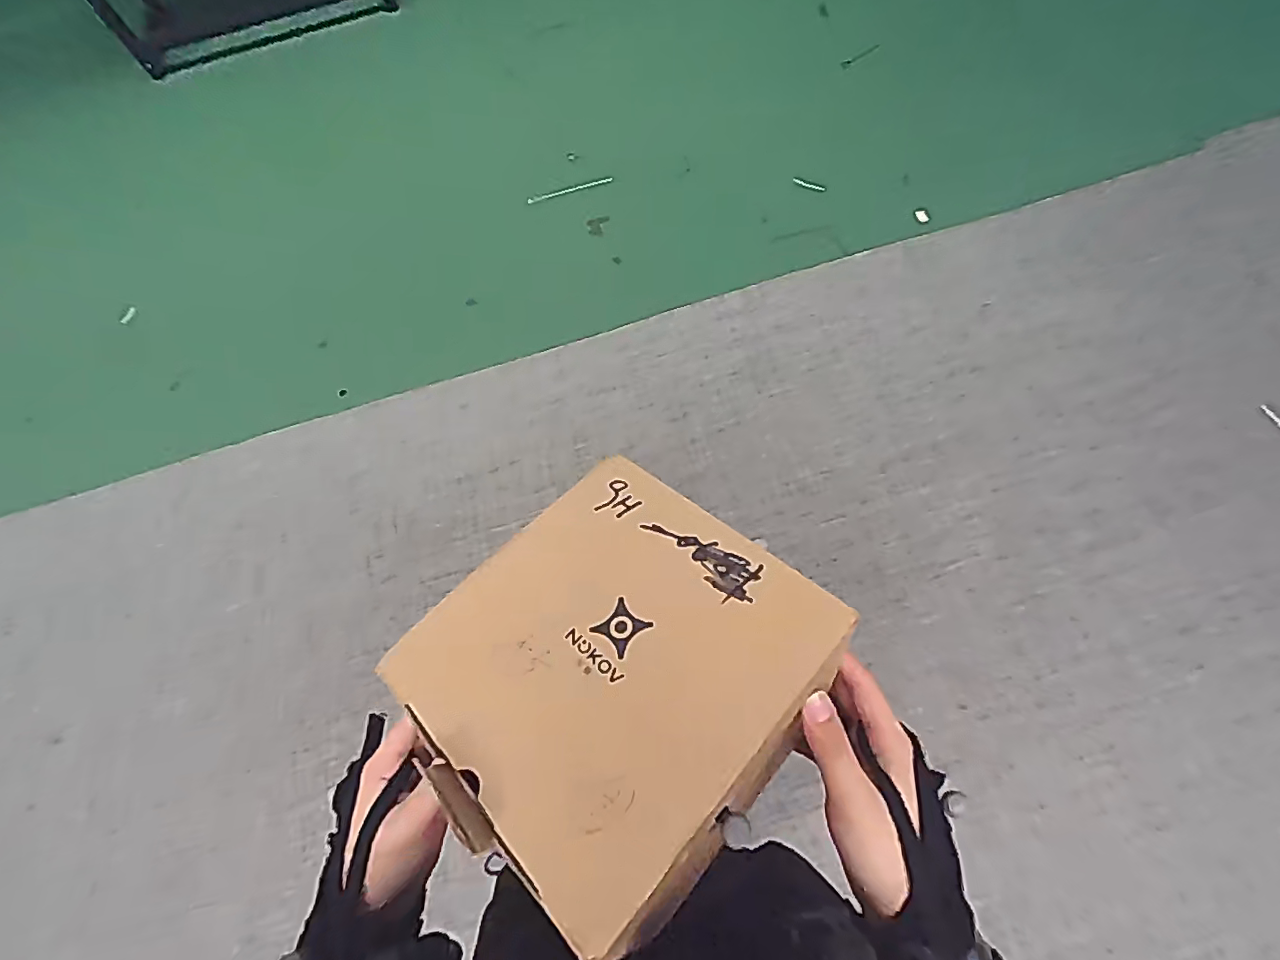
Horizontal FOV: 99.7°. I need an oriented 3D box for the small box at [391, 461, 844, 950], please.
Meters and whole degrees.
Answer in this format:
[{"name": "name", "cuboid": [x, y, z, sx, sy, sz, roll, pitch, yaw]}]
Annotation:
[{"name": "small box", "cuboid": [-0.002, 0.129, 0.331, 0.168, 0.176, 0.179, 34, 66, 30]}]
